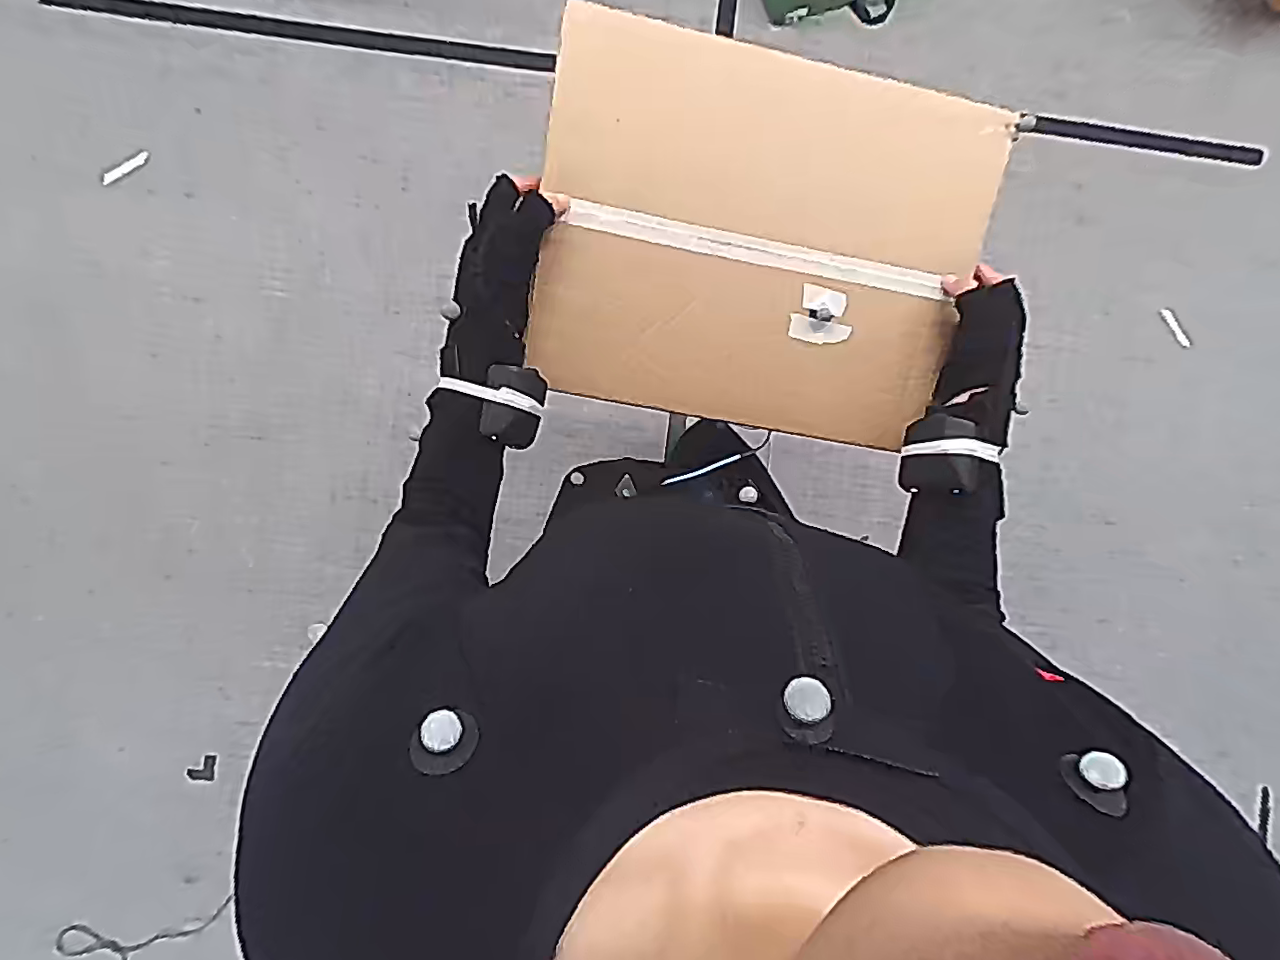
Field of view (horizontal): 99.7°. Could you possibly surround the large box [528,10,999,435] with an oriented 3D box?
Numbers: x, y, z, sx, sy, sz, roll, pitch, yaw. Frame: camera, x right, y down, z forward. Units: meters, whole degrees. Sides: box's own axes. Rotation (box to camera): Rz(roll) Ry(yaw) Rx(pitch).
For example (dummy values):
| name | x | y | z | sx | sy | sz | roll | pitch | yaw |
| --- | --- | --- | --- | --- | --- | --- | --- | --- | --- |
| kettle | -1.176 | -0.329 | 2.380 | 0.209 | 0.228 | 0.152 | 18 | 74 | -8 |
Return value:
| name | x | y | z | sx | sy | sz | roll | pitch | yaw |
| --- | --- | --- | --- | --- | --- | --- | --- | --- | --- |
| large box | 0.097 | -0.254 | 0.648 | 0.408 | 0.320 | 0.320 | 9 | 104 | -7 |
